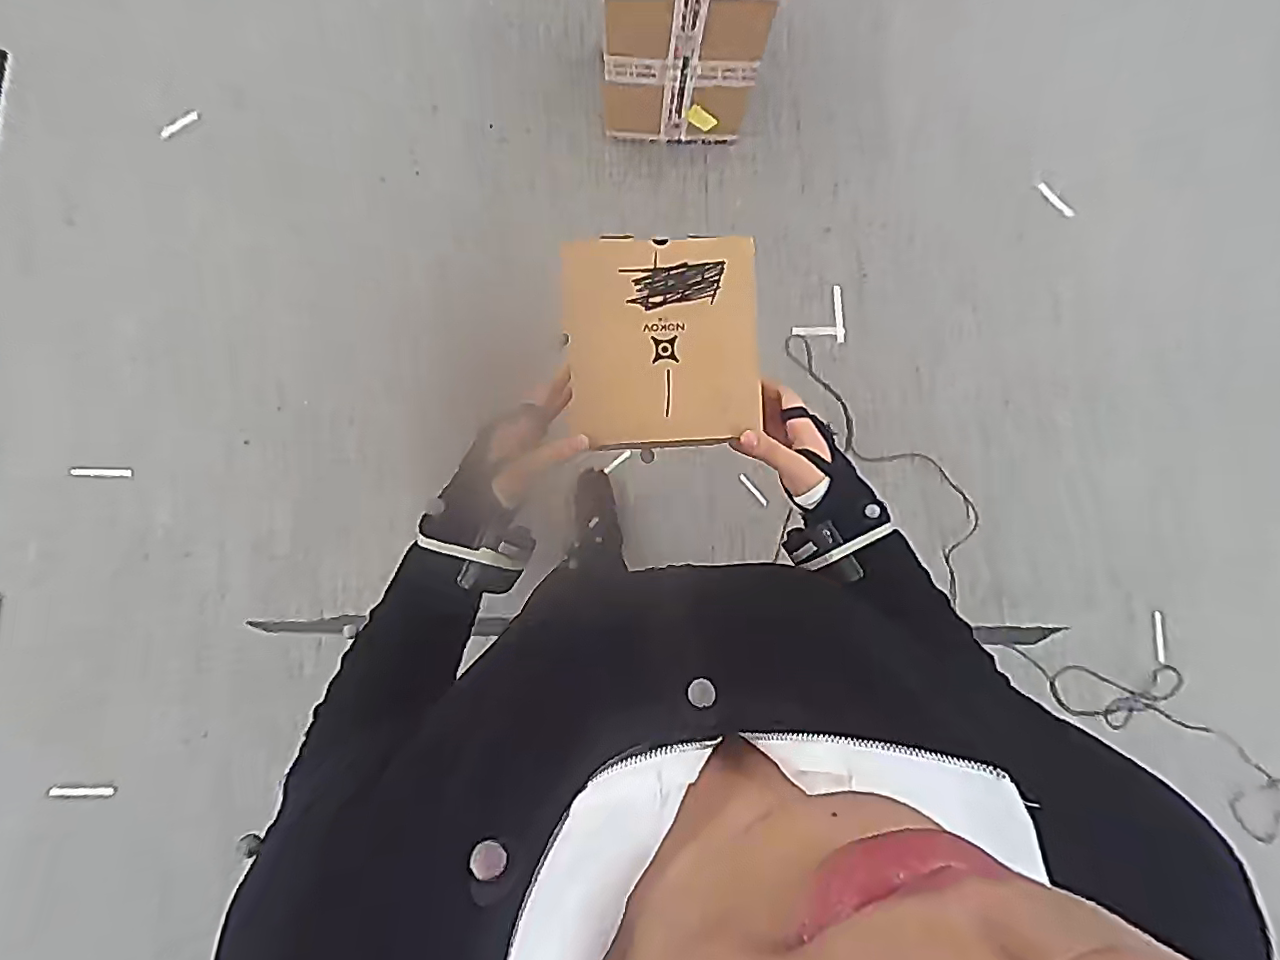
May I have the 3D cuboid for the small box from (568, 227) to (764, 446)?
[{"bbox_3d":[0.014,-0.128,0.537,0.168,0.176,0.179,-3,92,-6],"label":"small box"}]
